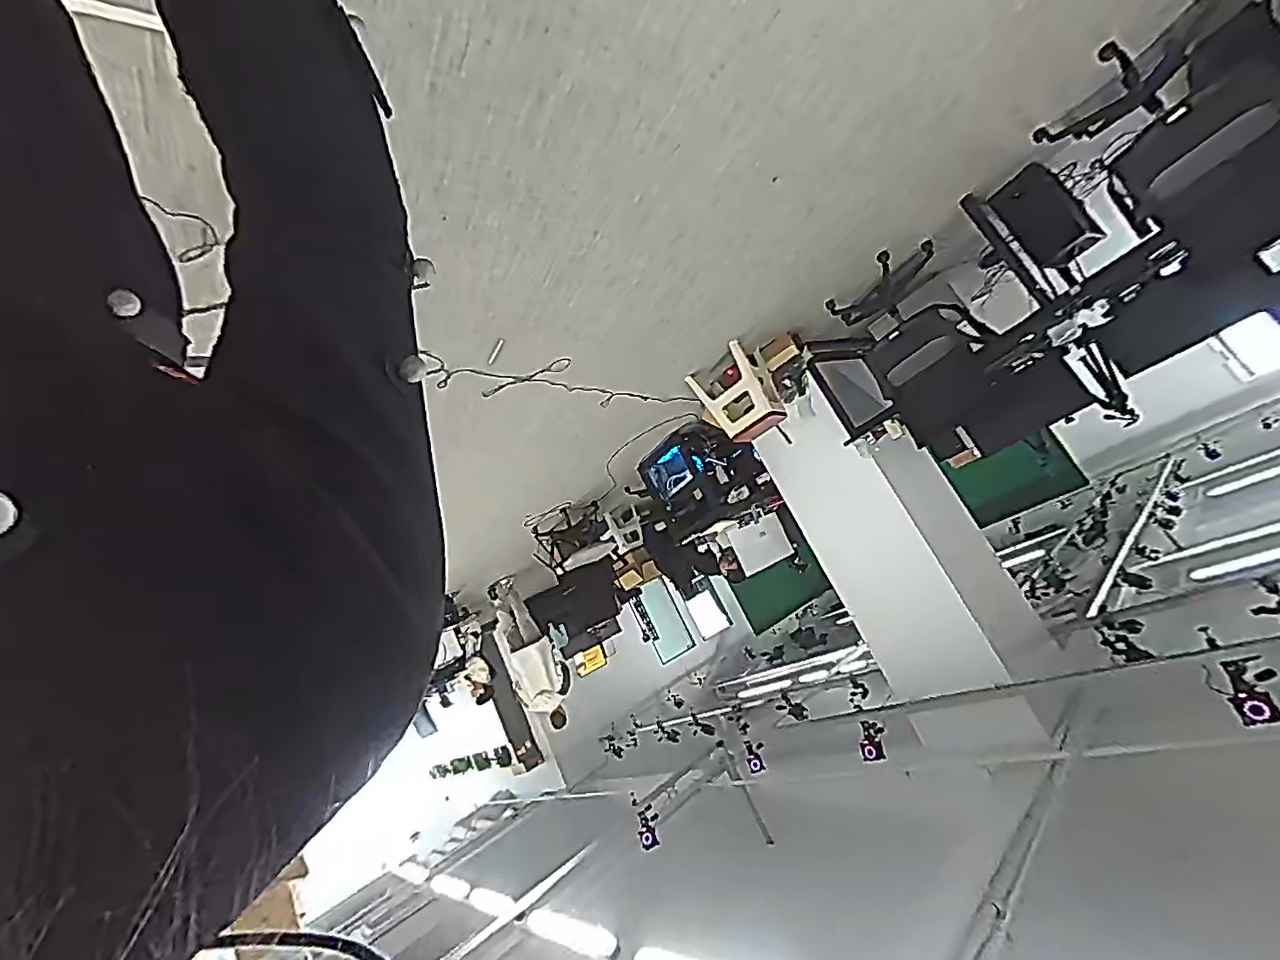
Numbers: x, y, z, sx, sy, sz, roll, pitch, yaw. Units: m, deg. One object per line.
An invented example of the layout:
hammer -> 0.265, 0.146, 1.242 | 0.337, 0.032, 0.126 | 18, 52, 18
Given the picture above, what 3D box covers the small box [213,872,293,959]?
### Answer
small box -> -1.219, 1.383, 1.708 | 0.168, 0.176, 0.179 | -17, 164, -34
